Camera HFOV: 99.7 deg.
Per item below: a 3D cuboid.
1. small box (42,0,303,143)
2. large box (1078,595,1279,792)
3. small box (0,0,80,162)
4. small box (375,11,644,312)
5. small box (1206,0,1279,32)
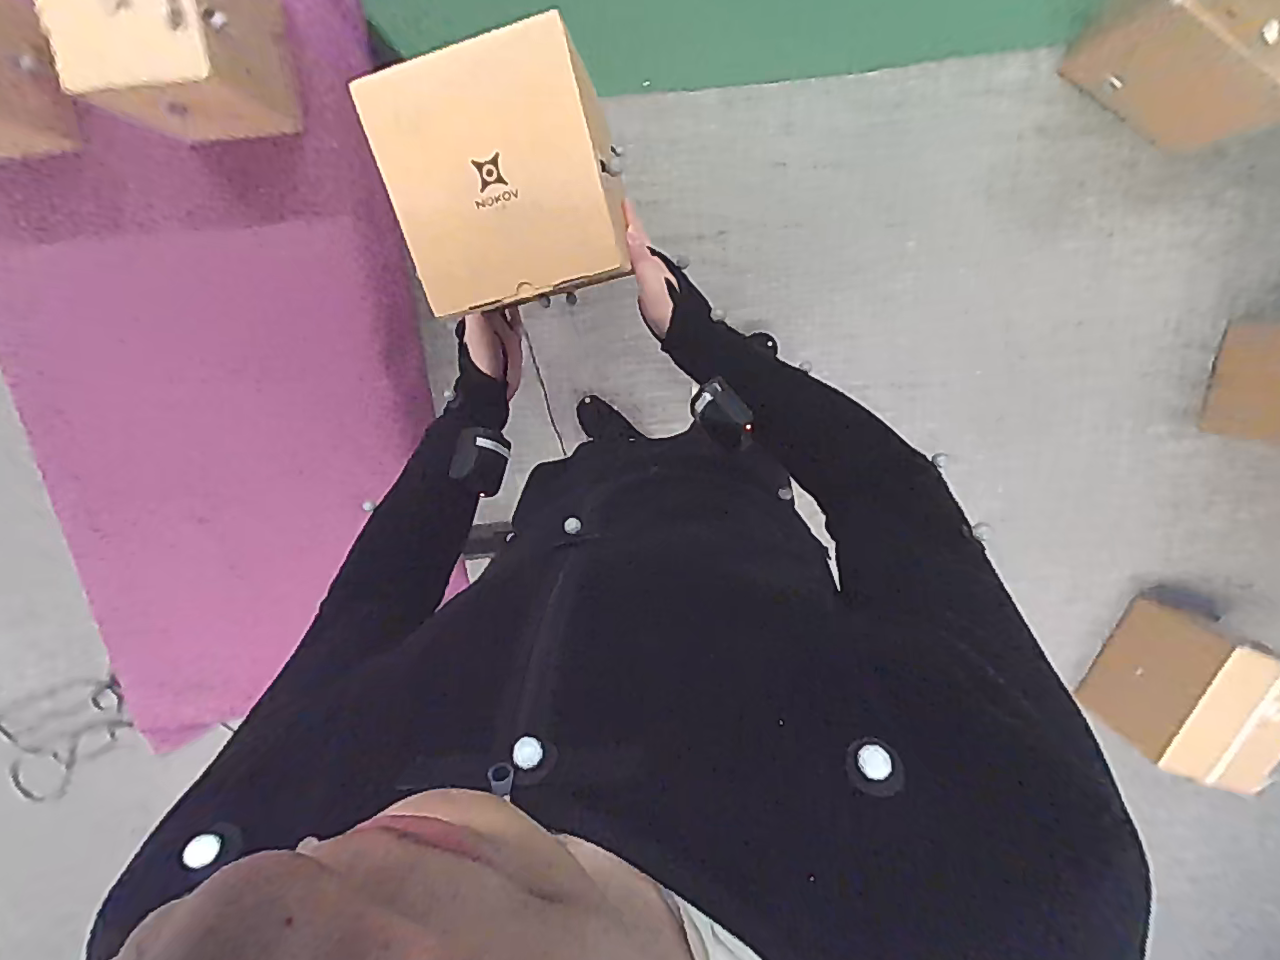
[{"bbox_3d":[-0.562,-0.536,0.663,0.179,0.176,0.168,-3,105,4],"label":"small box"},{"bbox_3d":[1.650,0.623,1.622,0.320,0.320,0.408,18,102,-4],"label":"large box"},{"bbox_3d":[-0.880,-0.511,0.670,0.179,0.176,0.168,-7,107,1],"label":"small box"},{"bbox_3d":[-0.094,-0.262,0.487,0.168,0.176,0.179,-12,111,7],"label":"small box"},{"bbox_3d":[1.180,-0.979,0.978,0.168,0.176,0.179,33,102,-8],"label":"small box"}]
